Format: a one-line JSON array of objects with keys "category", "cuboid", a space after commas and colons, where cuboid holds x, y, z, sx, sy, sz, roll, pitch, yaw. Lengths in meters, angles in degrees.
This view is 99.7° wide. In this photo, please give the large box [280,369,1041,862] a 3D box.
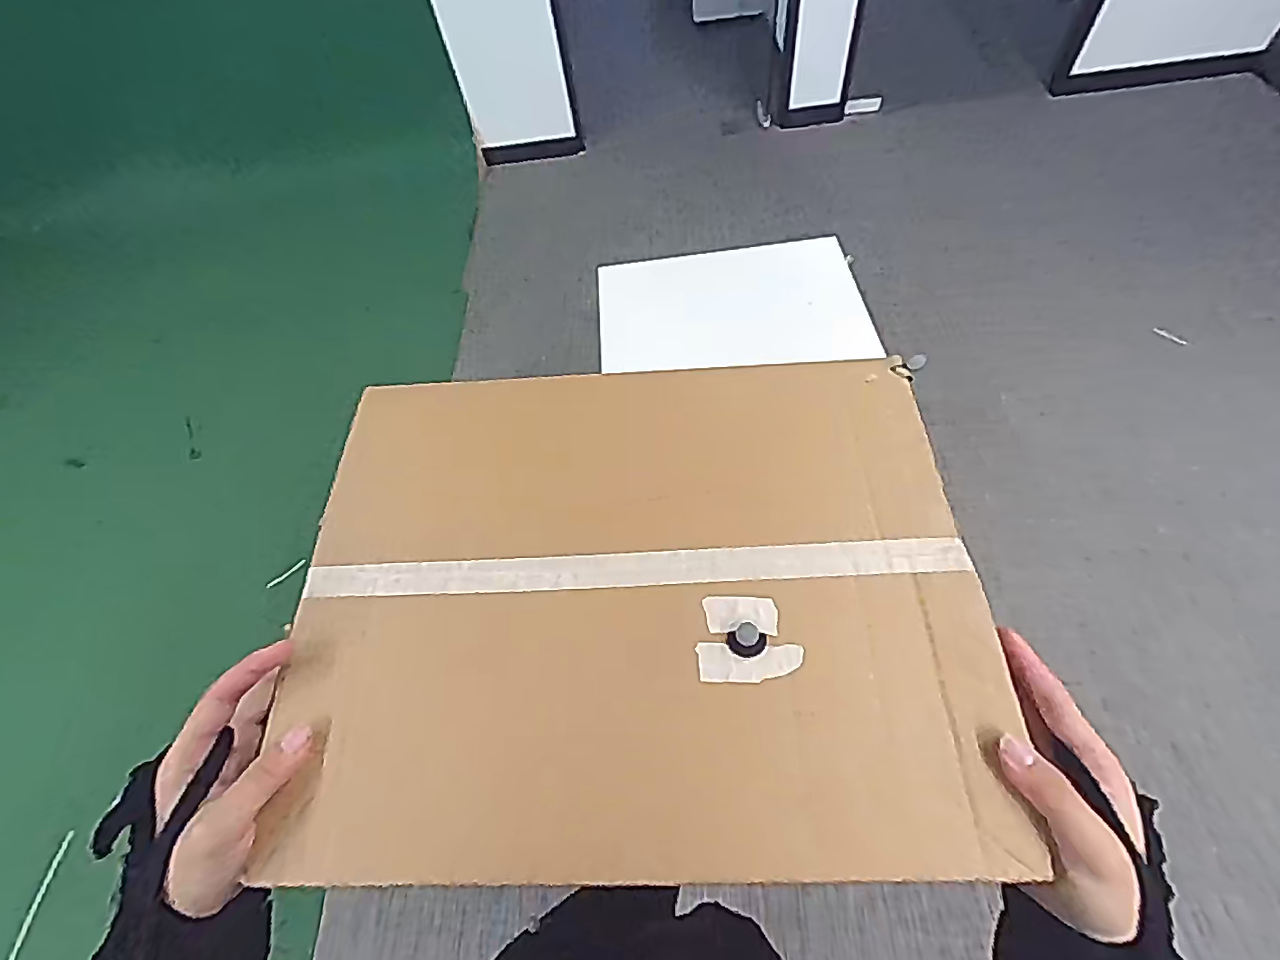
[{"category": "large box", "cuboid": [0.009, 0.128, 0.479, 0.408, 0.320, 0.320, -2, 62, 2]}]
